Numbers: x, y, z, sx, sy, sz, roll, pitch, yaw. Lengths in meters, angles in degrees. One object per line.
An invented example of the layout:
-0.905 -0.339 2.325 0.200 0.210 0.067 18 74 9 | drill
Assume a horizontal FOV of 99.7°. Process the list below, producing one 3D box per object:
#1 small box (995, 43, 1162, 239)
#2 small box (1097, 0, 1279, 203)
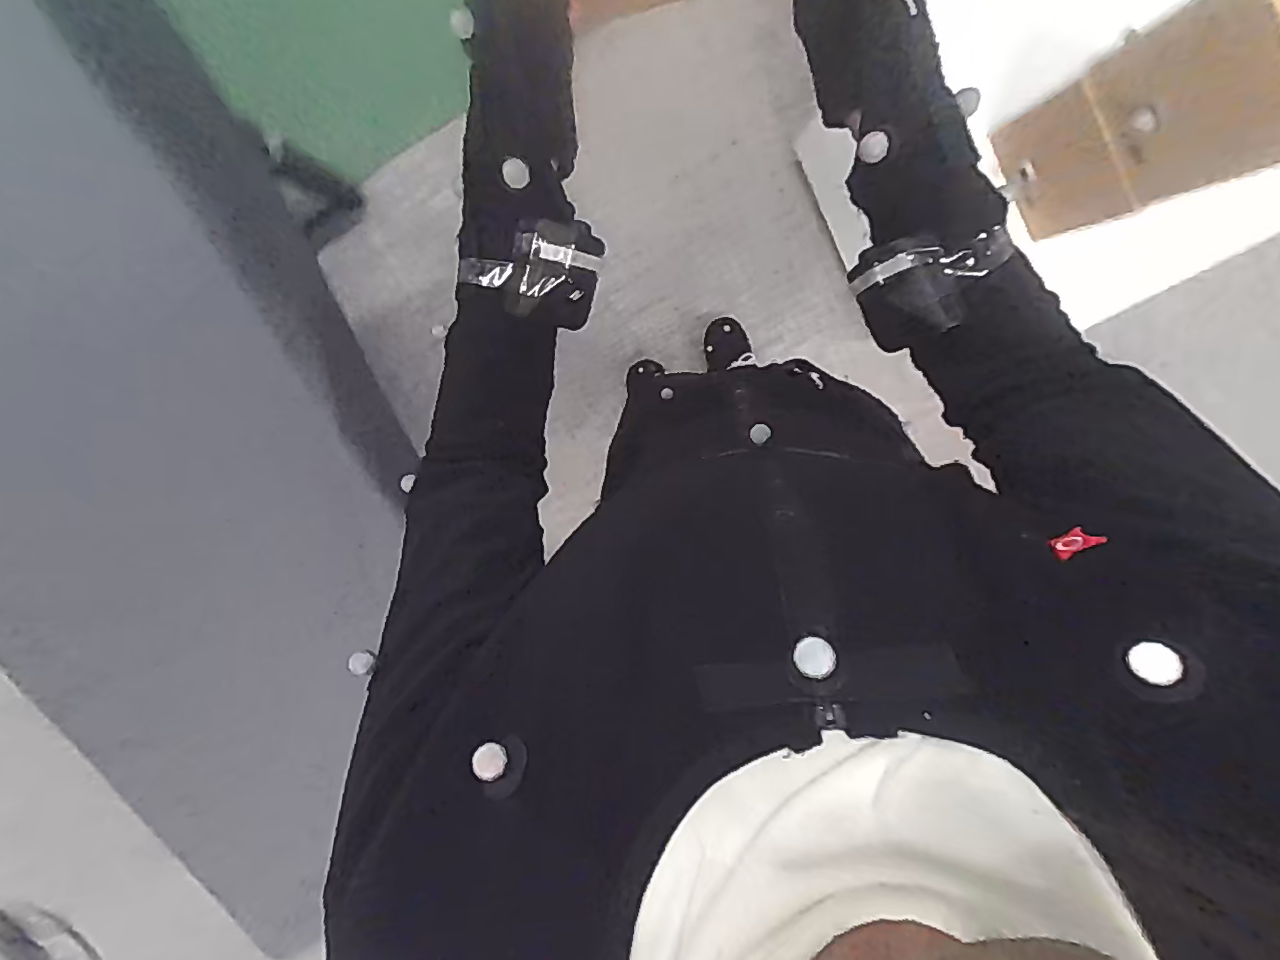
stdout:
0.571 -0.414 0.631 0.179 0.176 0.168 -32 100 10 | small box
0.569 -0.382 0.470 0.179 0.176 0.168 -35 100 7 | small box
